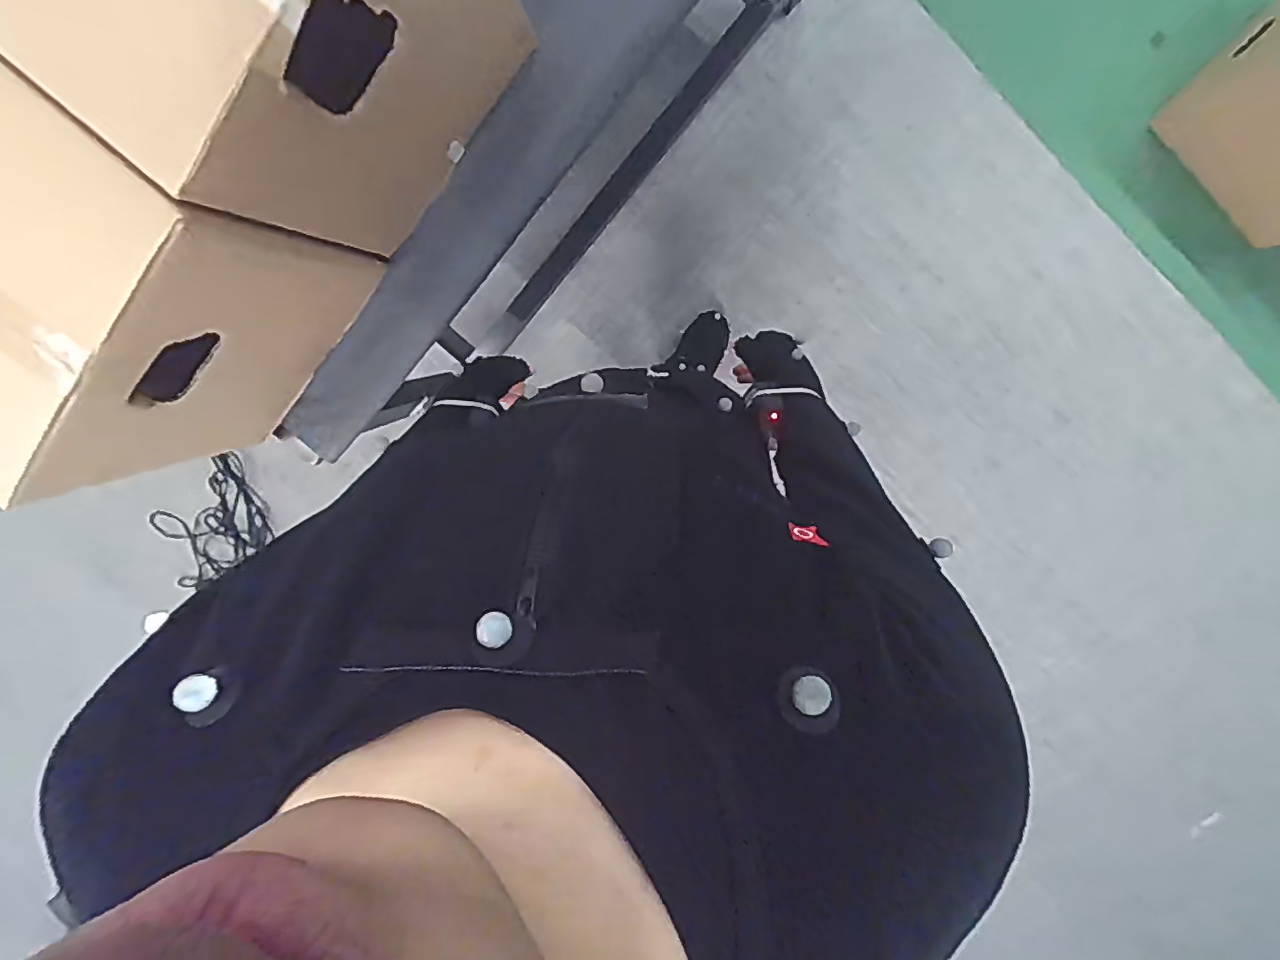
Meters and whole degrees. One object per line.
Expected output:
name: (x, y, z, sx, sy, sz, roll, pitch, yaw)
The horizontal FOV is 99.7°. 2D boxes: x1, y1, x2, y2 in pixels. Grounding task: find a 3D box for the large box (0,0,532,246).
large box: (-0.371, -0.485, 0.477, 0.408, 0.320, 0.320, 40, 104, -8)
